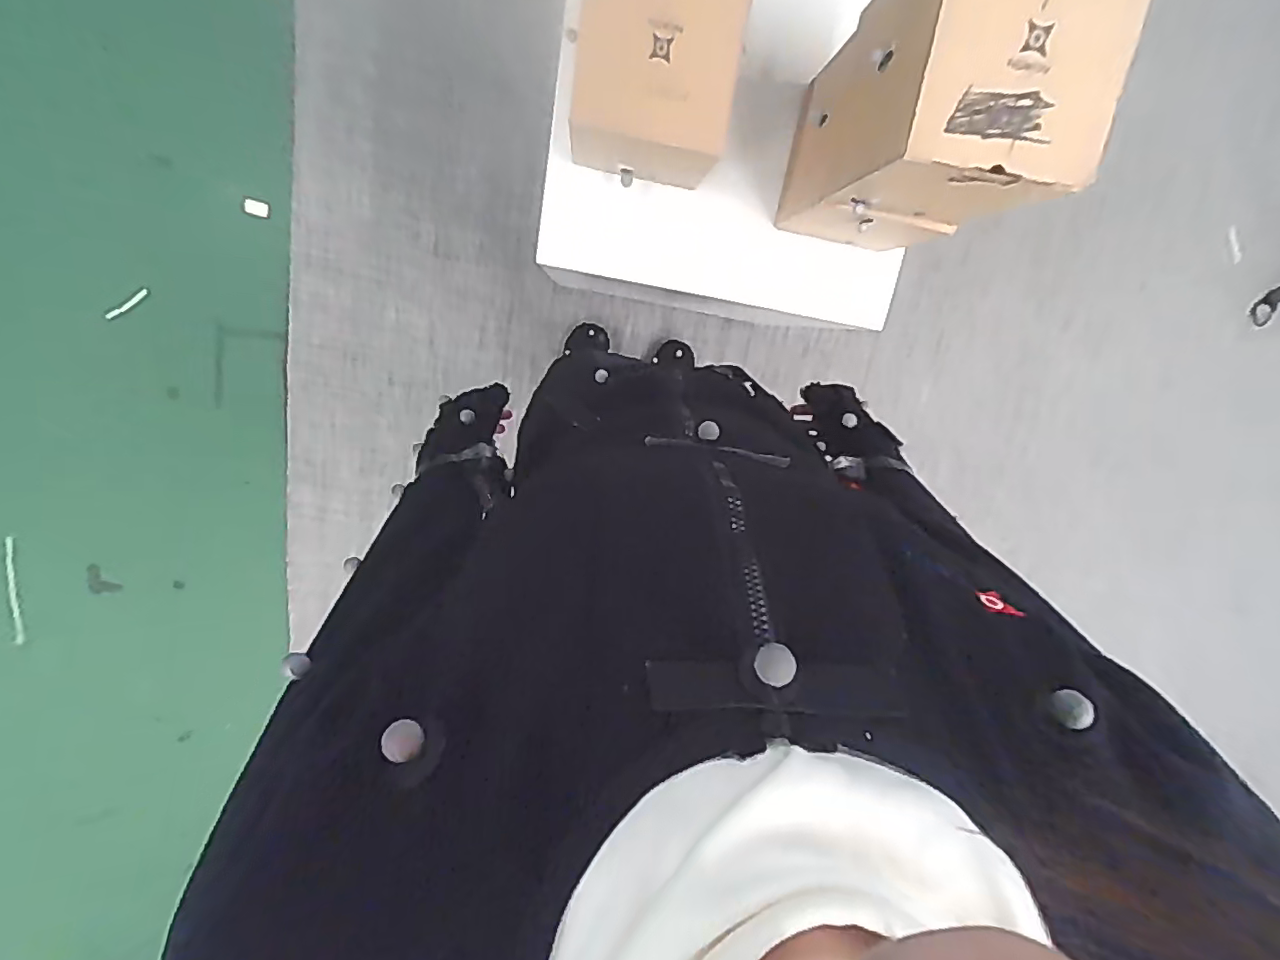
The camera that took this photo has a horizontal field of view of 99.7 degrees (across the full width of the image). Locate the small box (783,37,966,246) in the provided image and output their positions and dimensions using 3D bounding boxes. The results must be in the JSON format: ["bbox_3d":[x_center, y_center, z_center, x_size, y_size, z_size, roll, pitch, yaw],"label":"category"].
[{"bbox_3d":[0.288,-0.397,0.648,0.168,0.176,0.179,9,106,-6],"label":"small box"}]

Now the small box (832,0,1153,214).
[{"bbox_3d":[0.294,-0.356,0.489,0.168,0.176,0.179,6,106,-6],"label":"small box"}]

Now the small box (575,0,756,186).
[{"bbox_3d":[0.020,-0.458,0.612,0.168,0.176,0.179,7,108,-6],"label":"small box"}]
